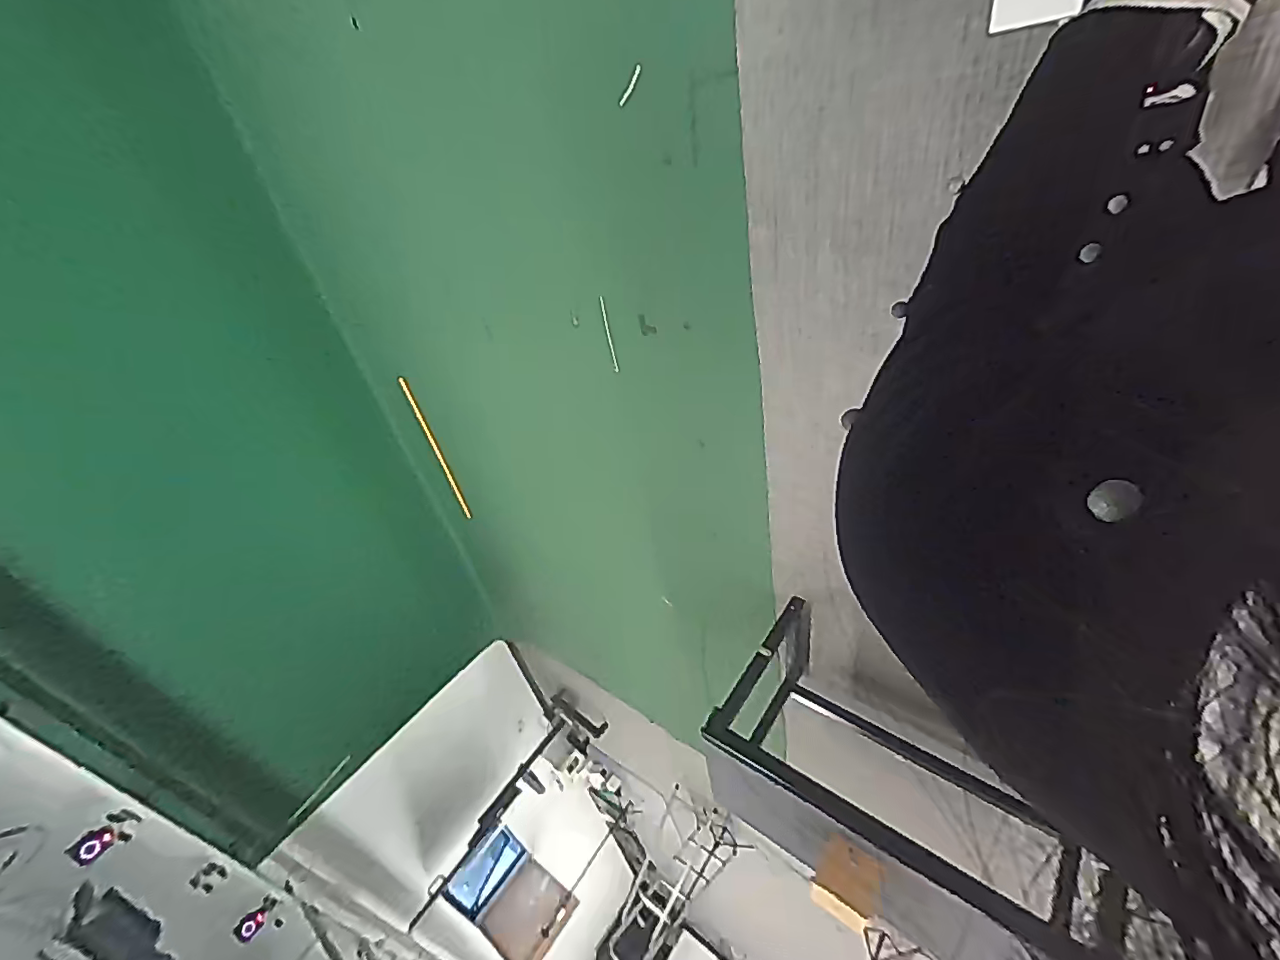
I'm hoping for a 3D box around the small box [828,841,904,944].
[{"bbox_3d":[0.696,1.266,1.667,0.168,0.176,0.179,19,137,34],"label":"small box"}]
